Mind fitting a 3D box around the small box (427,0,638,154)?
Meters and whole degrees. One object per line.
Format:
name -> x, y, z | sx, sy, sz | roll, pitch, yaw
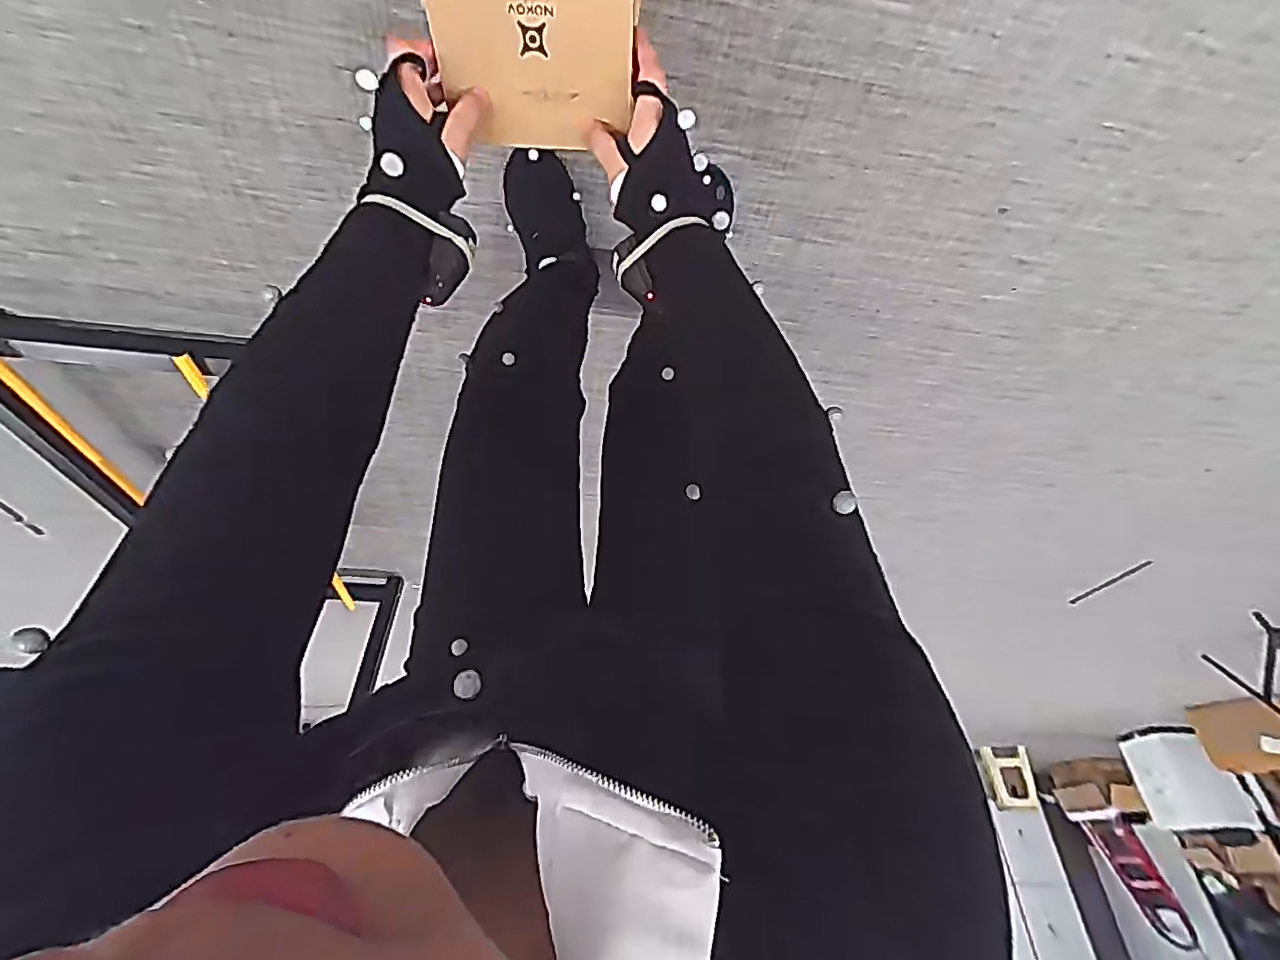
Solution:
small box -> -0.085, -0.426, 0.484 | 0.168, 0.176, 0.179 | 2, 145, -1
